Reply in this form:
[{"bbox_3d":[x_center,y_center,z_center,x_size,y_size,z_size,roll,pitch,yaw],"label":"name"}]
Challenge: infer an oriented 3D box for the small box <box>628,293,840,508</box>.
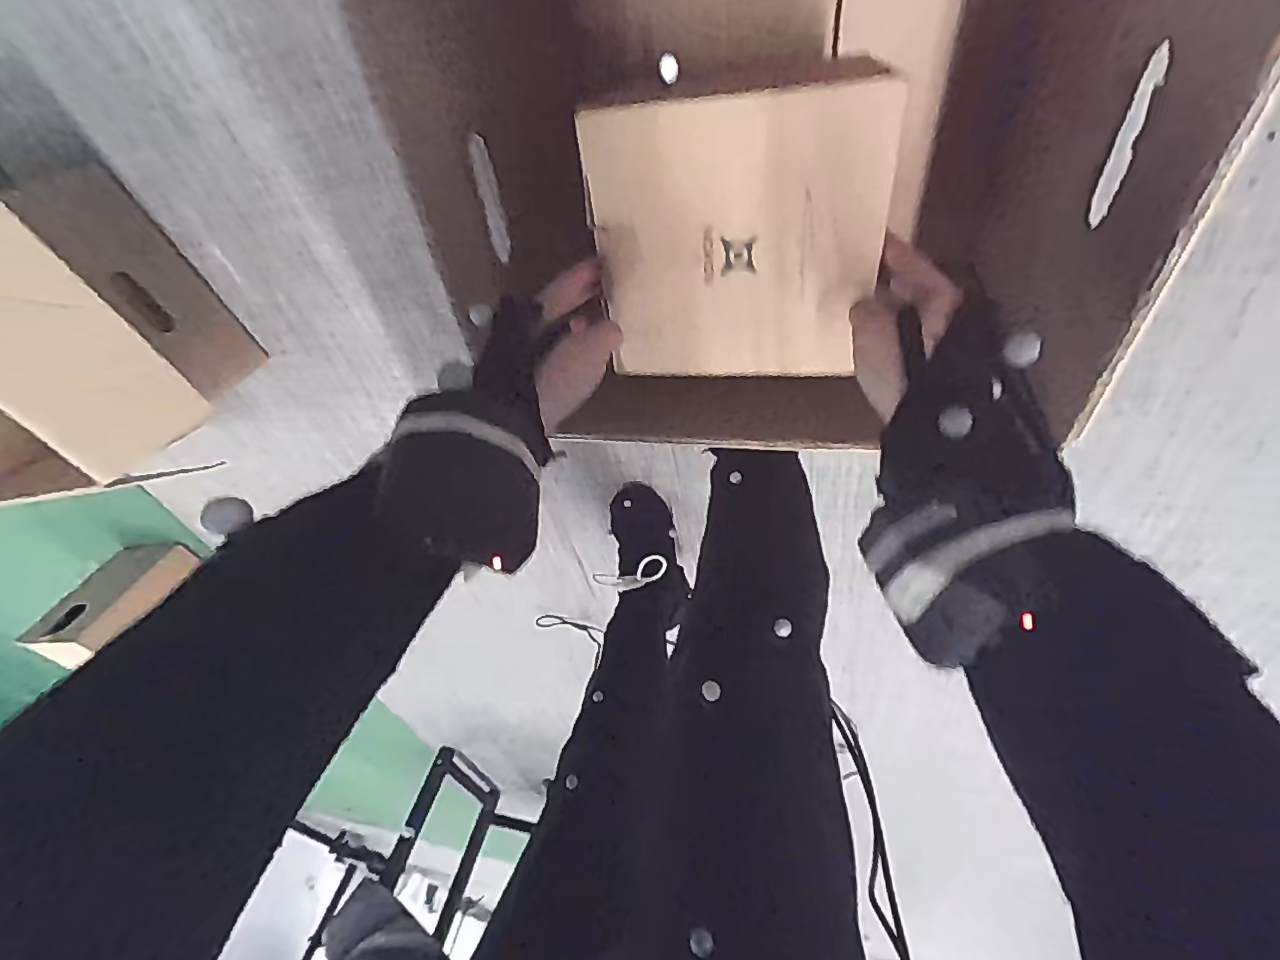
[{"bbox_3d":[0.103,-0.076,0.625,0.179,0.168,0.176,16,159,-14],"label":"small box"}]
